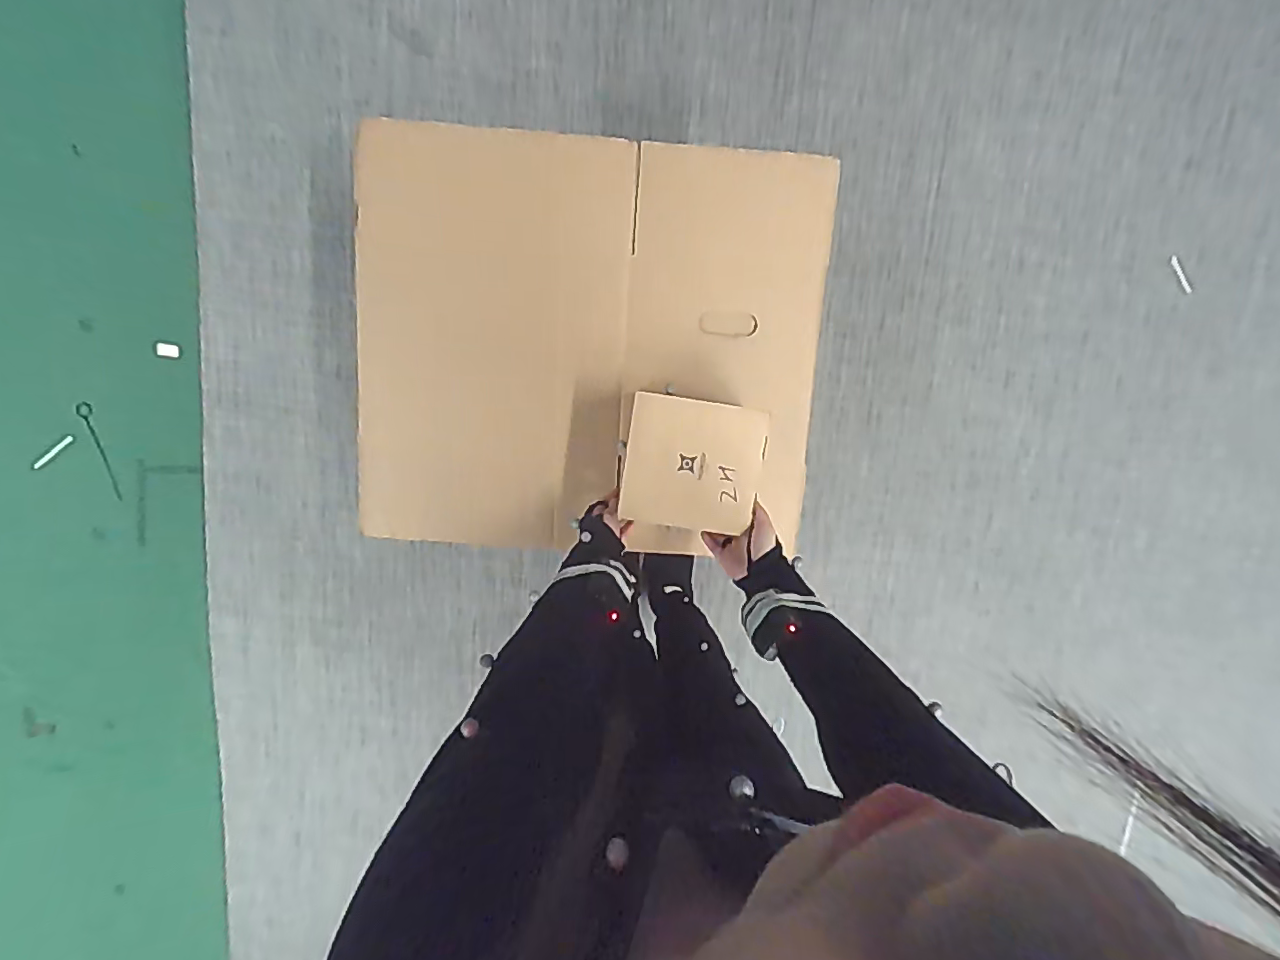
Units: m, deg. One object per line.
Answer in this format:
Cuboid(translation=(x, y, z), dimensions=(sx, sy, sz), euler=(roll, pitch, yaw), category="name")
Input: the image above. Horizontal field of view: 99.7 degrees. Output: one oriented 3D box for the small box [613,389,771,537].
Cuboid(translation=(0.065, -0.031, 0.760), dimensions=(0.179, 0.176, 0.168), euler=(9, 99, -1), category="small box")
